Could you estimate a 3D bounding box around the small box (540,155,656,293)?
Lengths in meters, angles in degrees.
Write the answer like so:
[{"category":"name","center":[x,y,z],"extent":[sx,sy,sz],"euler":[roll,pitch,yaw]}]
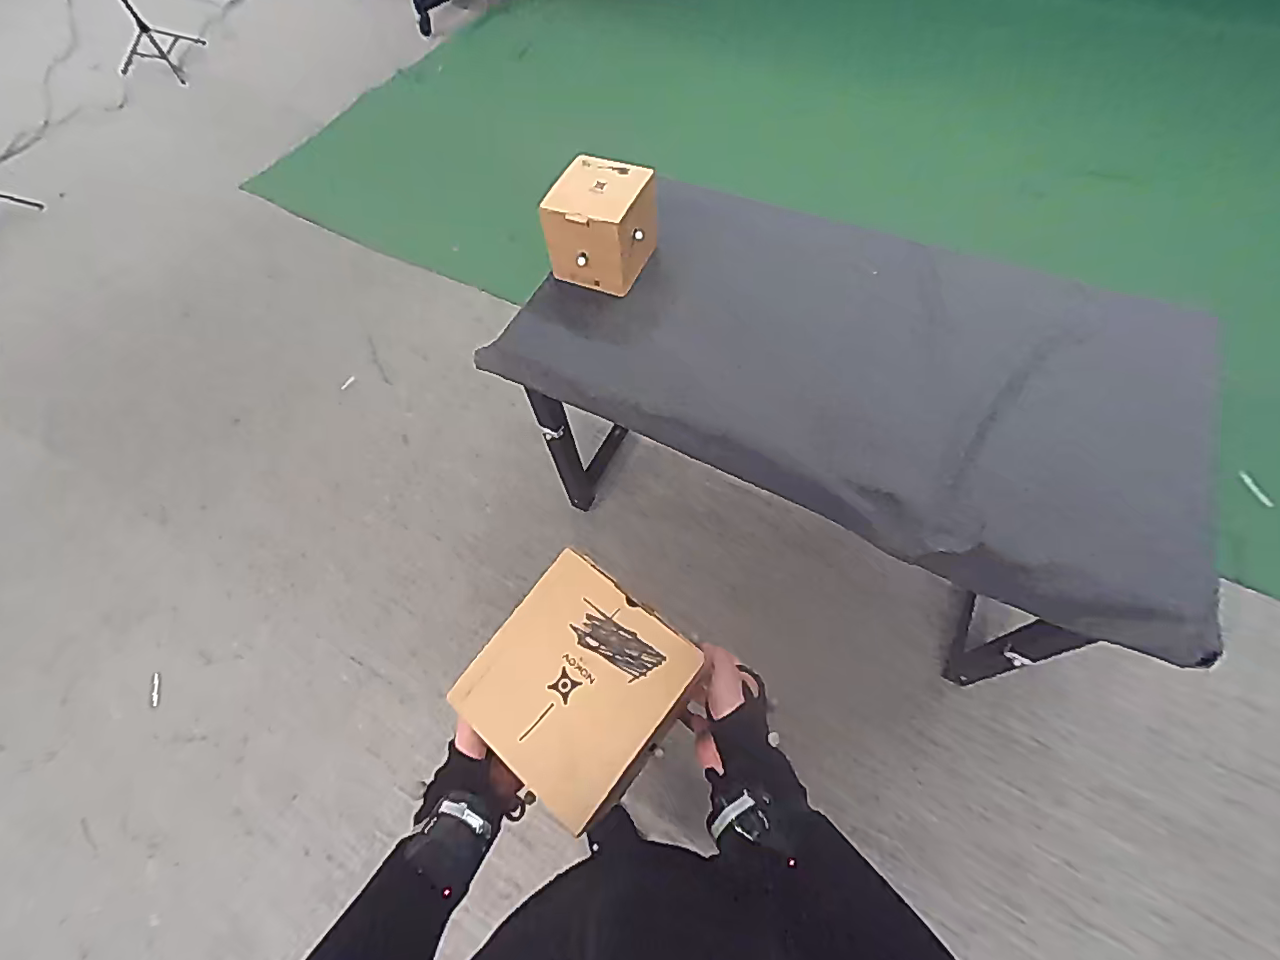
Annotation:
[{"category":"small box","center":[-0.072,-0.508,1.085],"extent":[0.168,0.176,0.179],"euler":[20,65,14]}]
